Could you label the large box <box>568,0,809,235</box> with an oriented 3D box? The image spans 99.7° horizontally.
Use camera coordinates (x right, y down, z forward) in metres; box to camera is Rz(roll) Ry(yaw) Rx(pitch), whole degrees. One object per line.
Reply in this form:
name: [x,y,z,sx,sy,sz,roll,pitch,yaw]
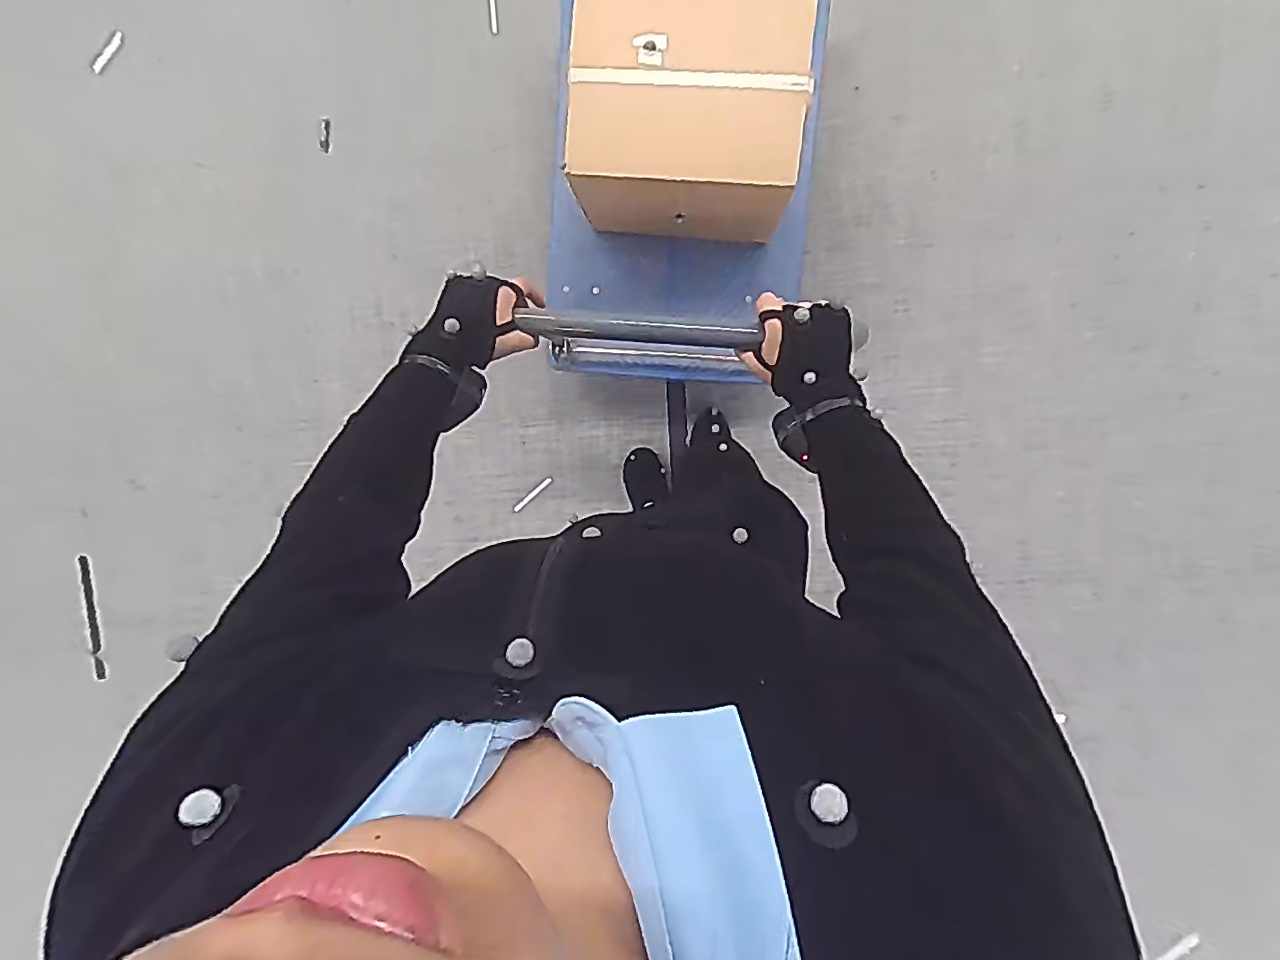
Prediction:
large box: [0.094,-0.700,1.079,0.408,0.320,0.320,5,97,5]
